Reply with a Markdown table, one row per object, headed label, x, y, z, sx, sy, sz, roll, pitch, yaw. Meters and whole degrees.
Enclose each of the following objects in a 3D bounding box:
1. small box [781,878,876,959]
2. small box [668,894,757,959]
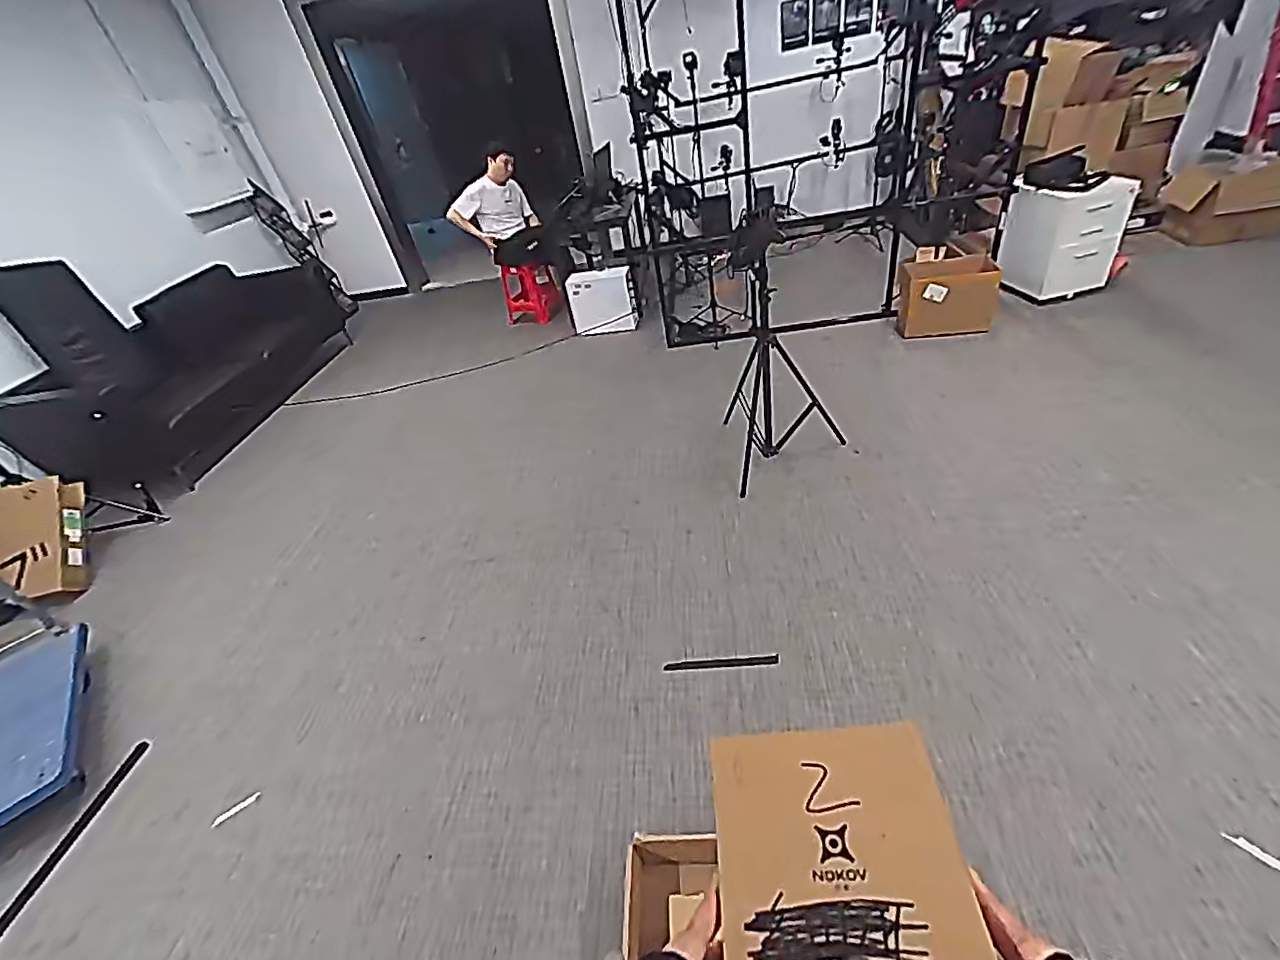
| label | x | y | z | sx | sy | sz | roll | pitch | yaw |
| --- | --- | --- | --- | --- | --- | --- | --- | --- | --- |
| small box | 0.363 | 0.917 | 1.055 | 0.168 | 0.176 | 0.179 | -3 | 38 | 12 |
| small box | 0.148 | 0.950 | 1.068 | 0.168 | 0.176 | 0.179 | -6 | 37 | 5 |
